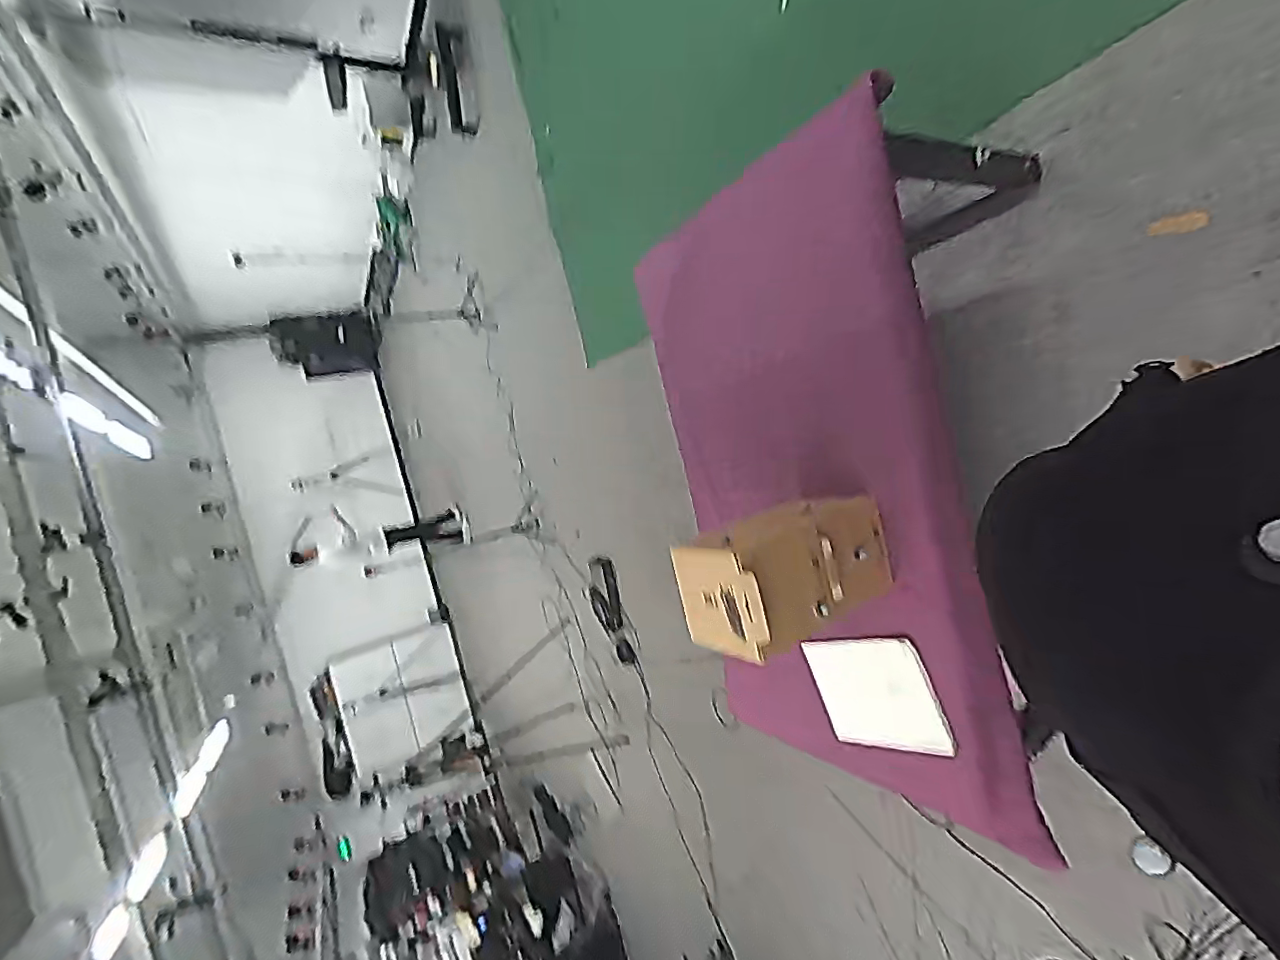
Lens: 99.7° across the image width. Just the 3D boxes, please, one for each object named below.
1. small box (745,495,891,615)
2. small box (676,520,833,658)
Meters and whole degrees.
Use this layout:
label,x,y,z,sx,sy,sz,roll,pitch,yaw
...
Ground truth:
label,x,y,z,sx,sy,sz,roll,pitch,yaw
small box,0.323,0.127,0.969,0.179,0.176,0.168,-9,95,58
small box,0.190,0.164,0.879,0.179,0.176,0.168,-8,96,60
